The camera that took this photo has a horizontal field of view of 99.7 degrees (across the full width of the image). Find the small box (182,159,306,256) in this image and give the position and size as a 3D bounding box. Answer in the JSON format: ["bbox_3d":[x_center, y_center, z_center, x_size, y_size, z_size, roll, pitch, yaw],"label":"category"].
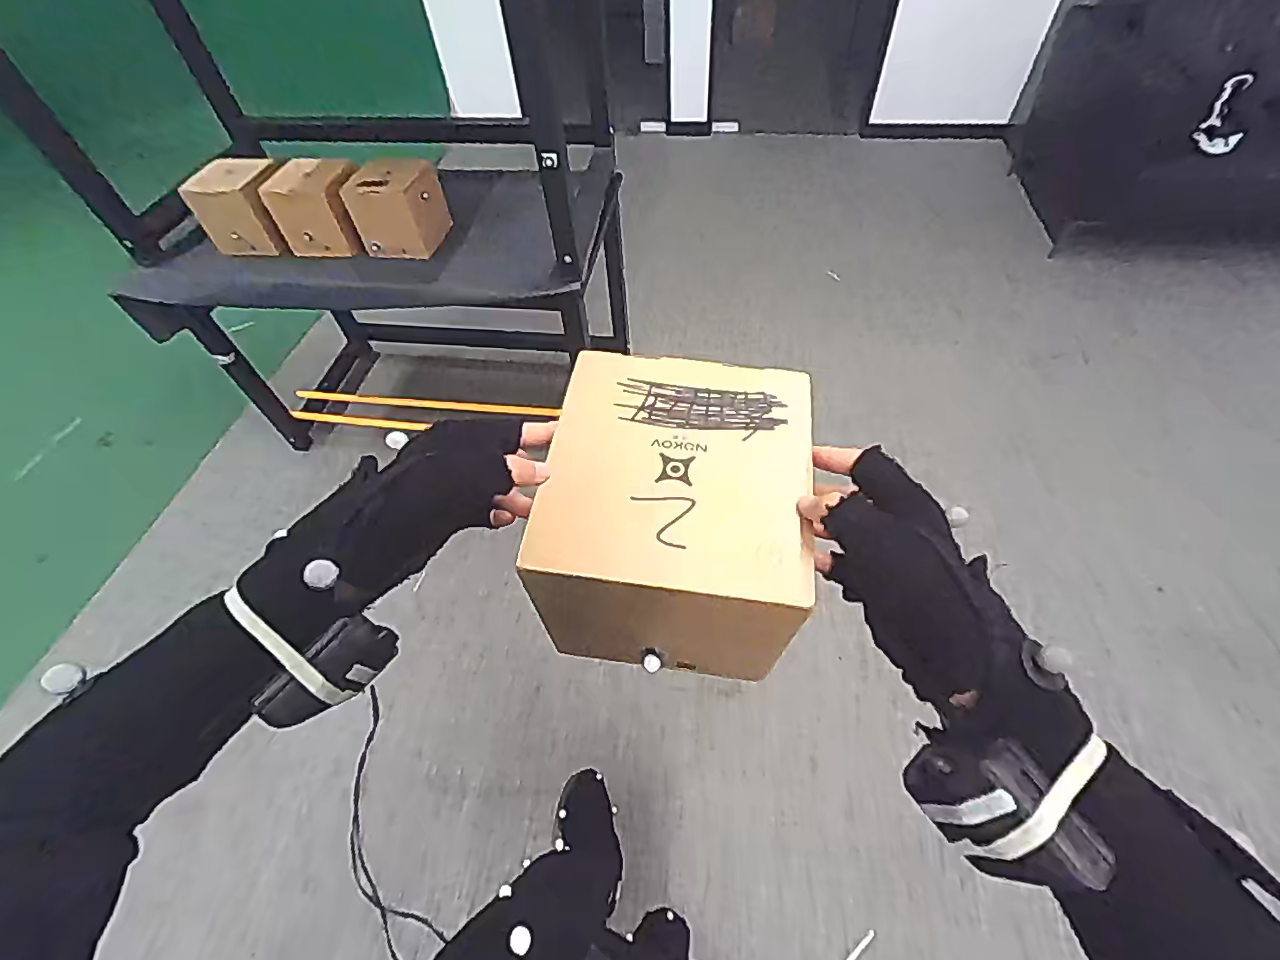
[{"bbox_3d":[-1.014,-0.710,1.408,0.168,0.176,0.179,3,53,5],"label":"small box"}]
